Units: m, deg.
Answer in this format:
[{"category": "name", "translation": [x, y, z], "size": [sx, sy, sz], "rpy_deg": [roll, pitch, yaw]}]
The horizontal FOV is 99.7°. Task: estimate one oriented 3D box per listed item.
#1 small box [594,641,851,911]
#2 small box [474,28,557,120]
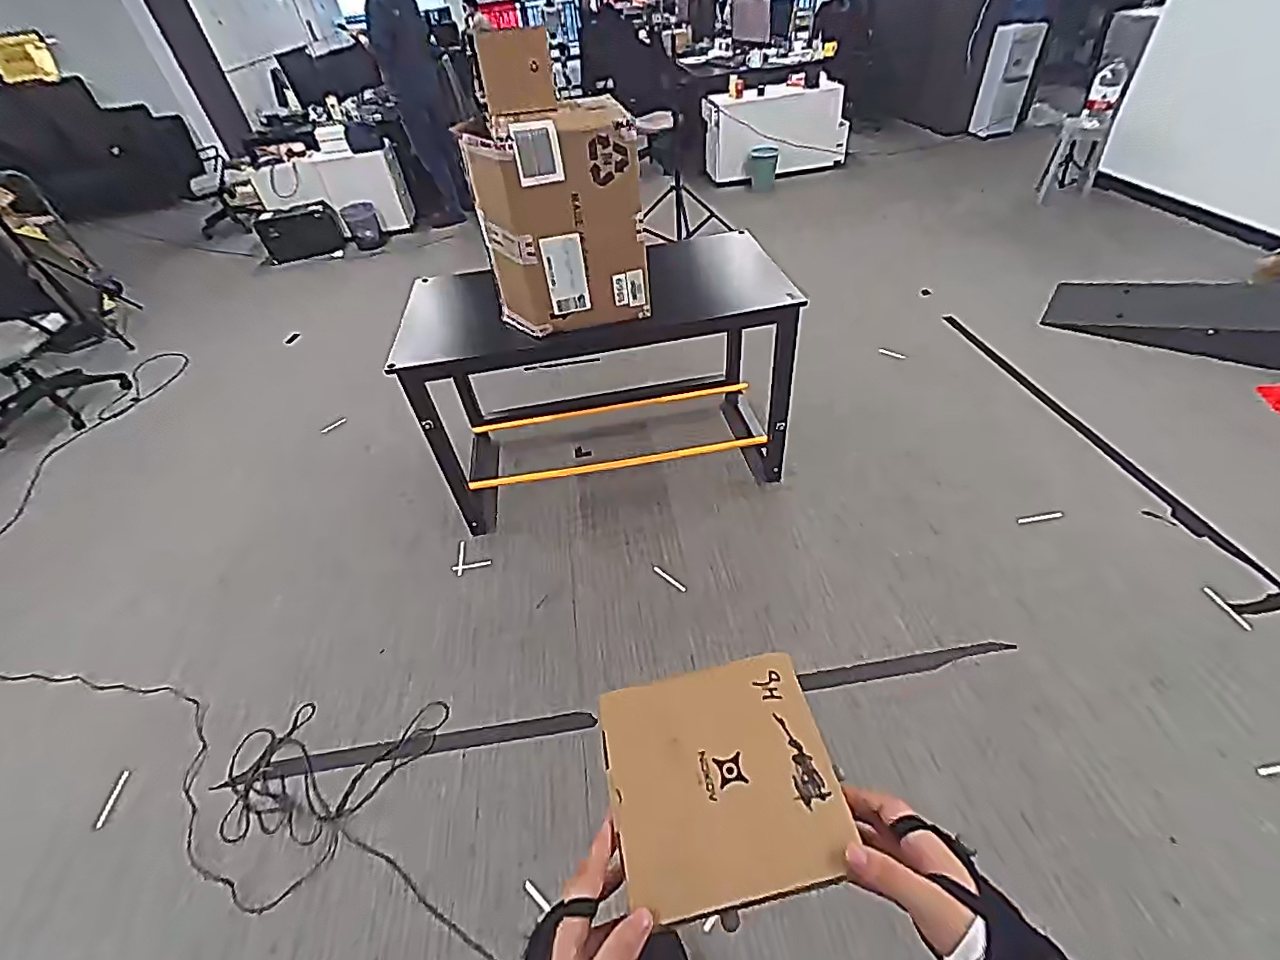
[{"category": "small box", "translation": [0.066, 0.277, 0.500], "size": [0.179, 0.176, 0.168], "rpy_deg": [-12, 49, -3]}, {"category": "small box", "translation": [-0.313, -1.038, 1.380], "size": [0.179, 0.176, 0.168], "rpy_deg": [-11, 40, -6]}]
